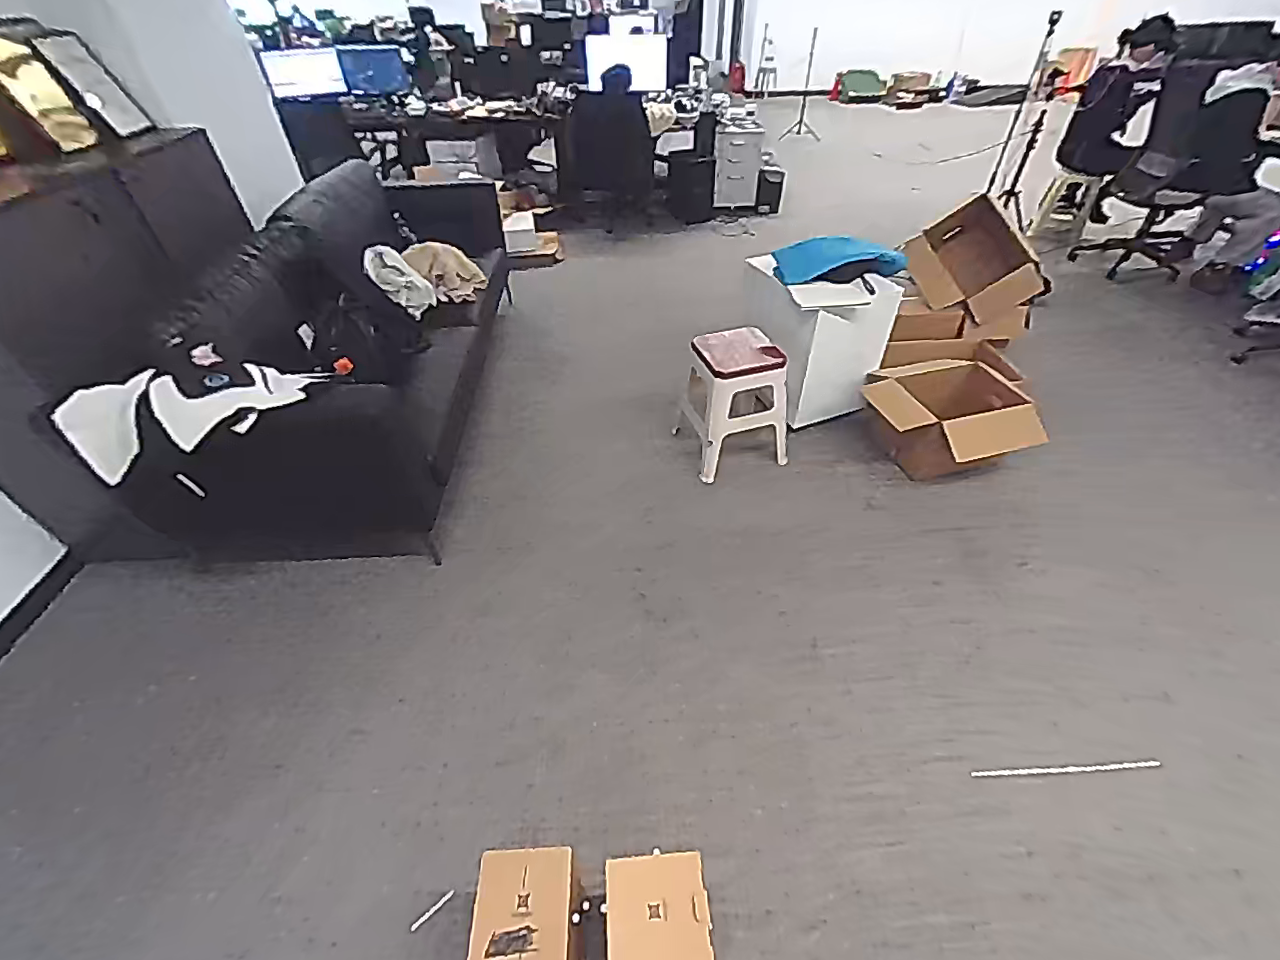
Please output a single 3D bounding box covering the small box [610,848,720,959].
[{"bbox_3d":[0.041,0.790,0.976,0.179,0.176,0.168,-4,43,-3],"label":"small box"}]
